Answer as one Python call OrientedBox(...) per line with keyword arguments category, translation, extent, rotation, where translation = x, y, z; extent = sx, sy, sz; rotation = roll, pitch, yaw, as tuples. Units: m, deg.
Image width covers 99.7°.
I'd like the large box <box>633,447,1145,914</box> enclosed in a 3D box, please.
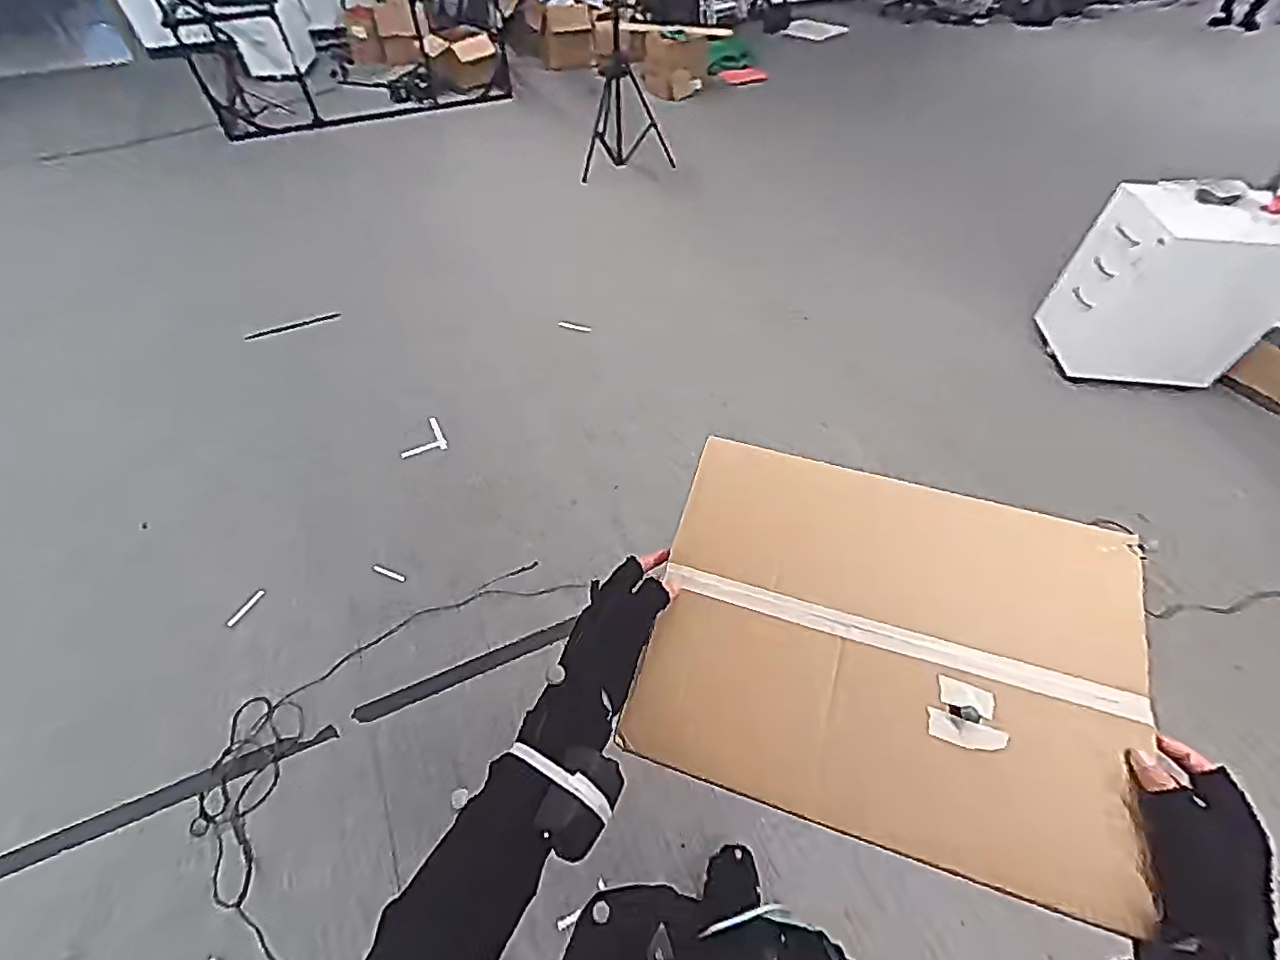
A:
OrientedBox(category="large box", translation=(0.234, 0.204, 0.622), extent=(0.408, 0.320, 0.320), rotation=(15, 68, 12))
